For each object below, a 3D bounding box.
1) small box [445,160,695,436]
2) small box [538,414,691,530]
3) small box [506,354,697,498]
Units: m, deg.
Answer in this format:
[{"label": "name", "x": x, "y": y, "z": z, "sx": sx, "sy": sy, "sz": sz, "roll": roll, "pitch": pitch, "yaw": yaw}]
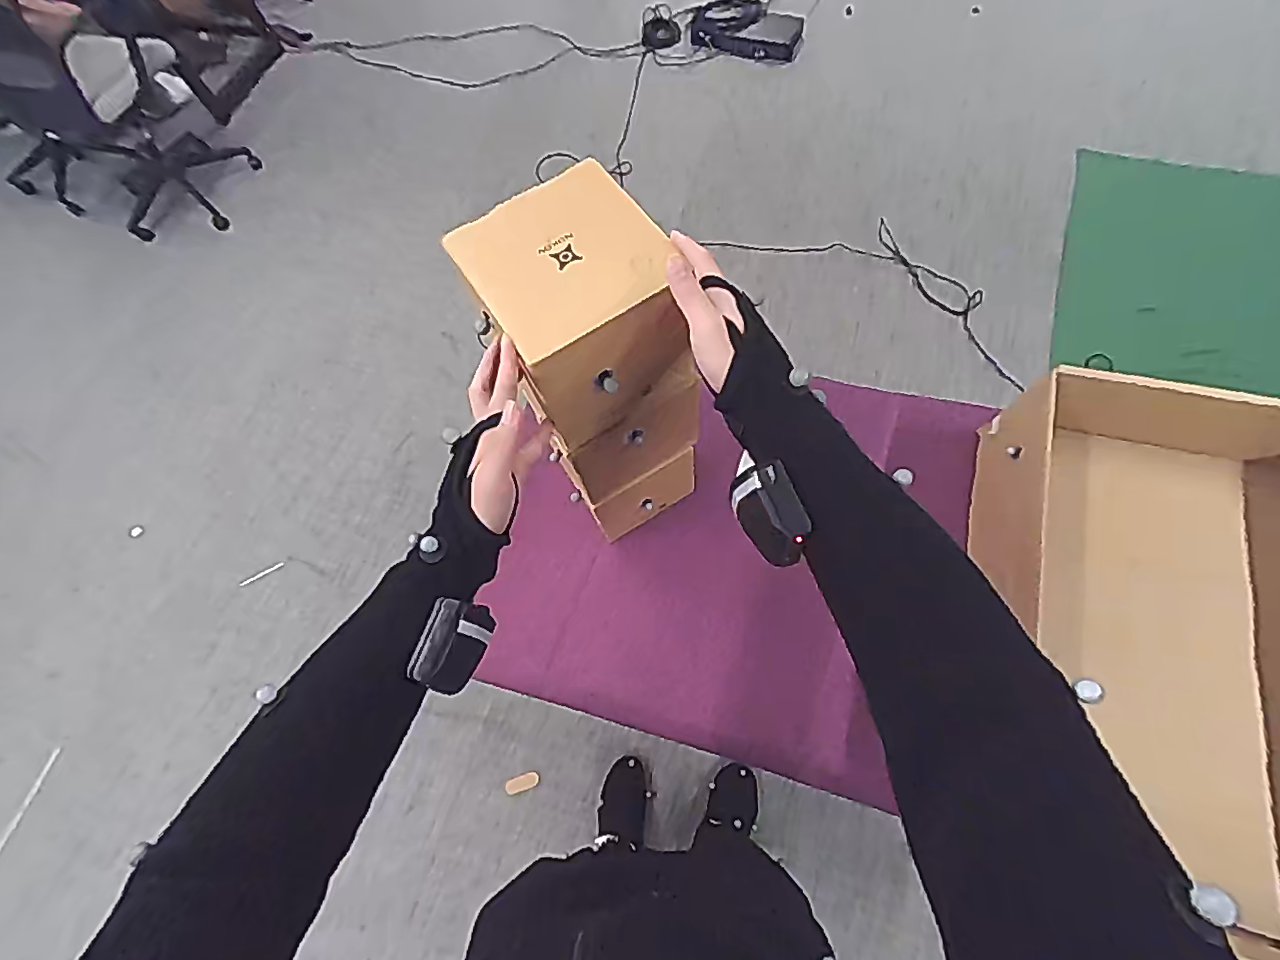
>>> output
[{"label": "small box", "x": -0.058, "y": -0.166, "z": 0.547, "sx": 0.168, "sy": 0.176, "sz": 0.179, "roll": -32, "pitch": 69, "yaw": -8}, {"label": "small box", "x": -0.031, "y": -0.038, "z": 0.844, "sx": 0.168, "sy": 0.176, "sz": 0.179, "roll": -30, "pitch": 68, "yaw": -8}, {"label": "small box", "x": -0.039, "y": -0.102, "z": 0.694, "sx": 0.179, "sy": 0.176, "sz": 0.168, "roll": -30, "pitch": 69, "yaw": -7}]
